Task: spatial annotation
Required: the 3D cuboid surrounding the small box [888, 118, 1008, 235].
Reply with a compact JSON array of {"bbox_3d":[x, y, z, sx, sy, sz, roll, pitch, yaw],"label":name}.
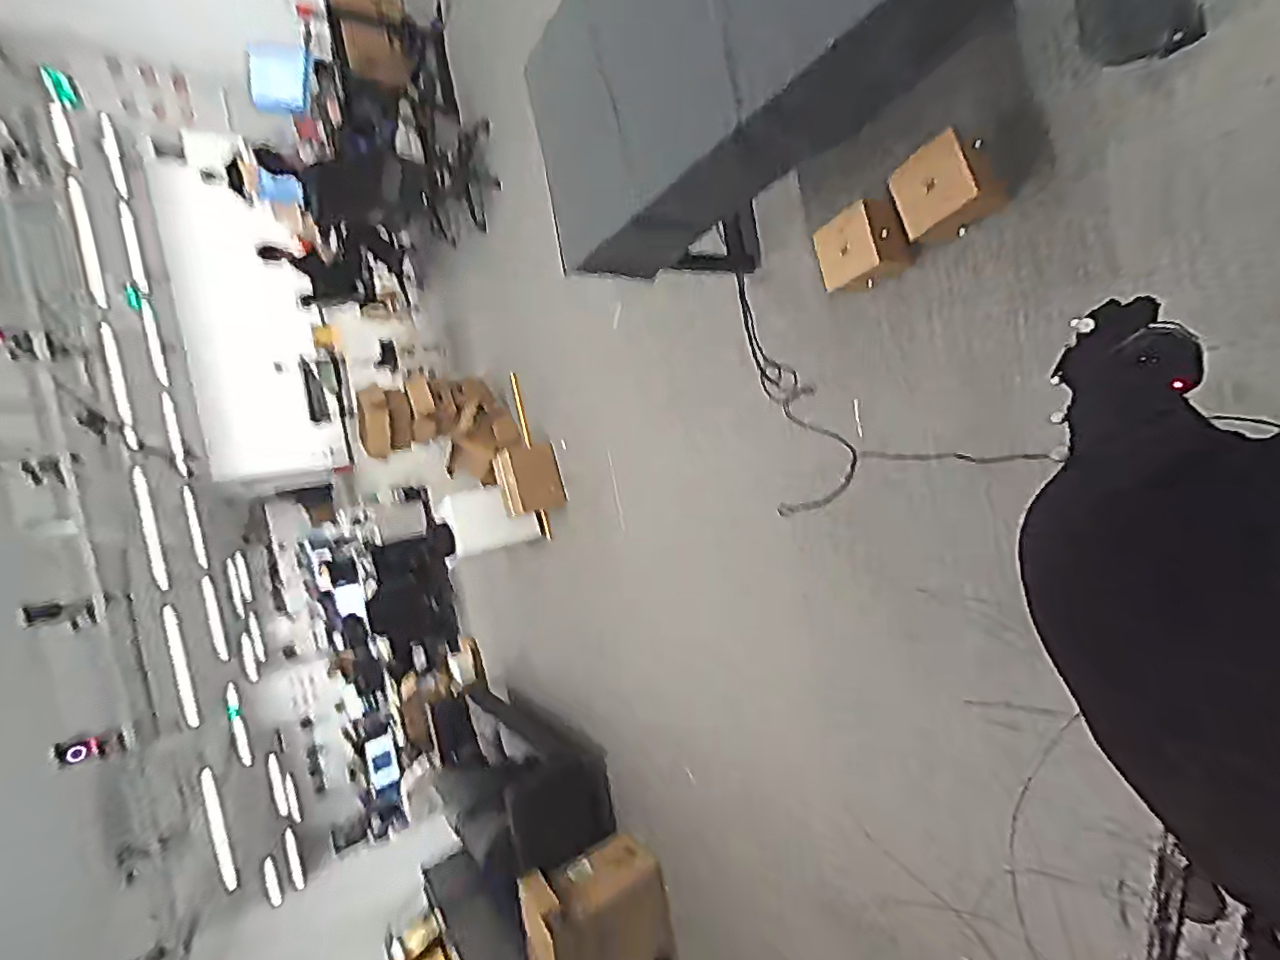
[{"bbox_3d":[0.736,-0.715,1.295,0.168,0.176,0.179,-27,78,56],"label":"small box"}]
